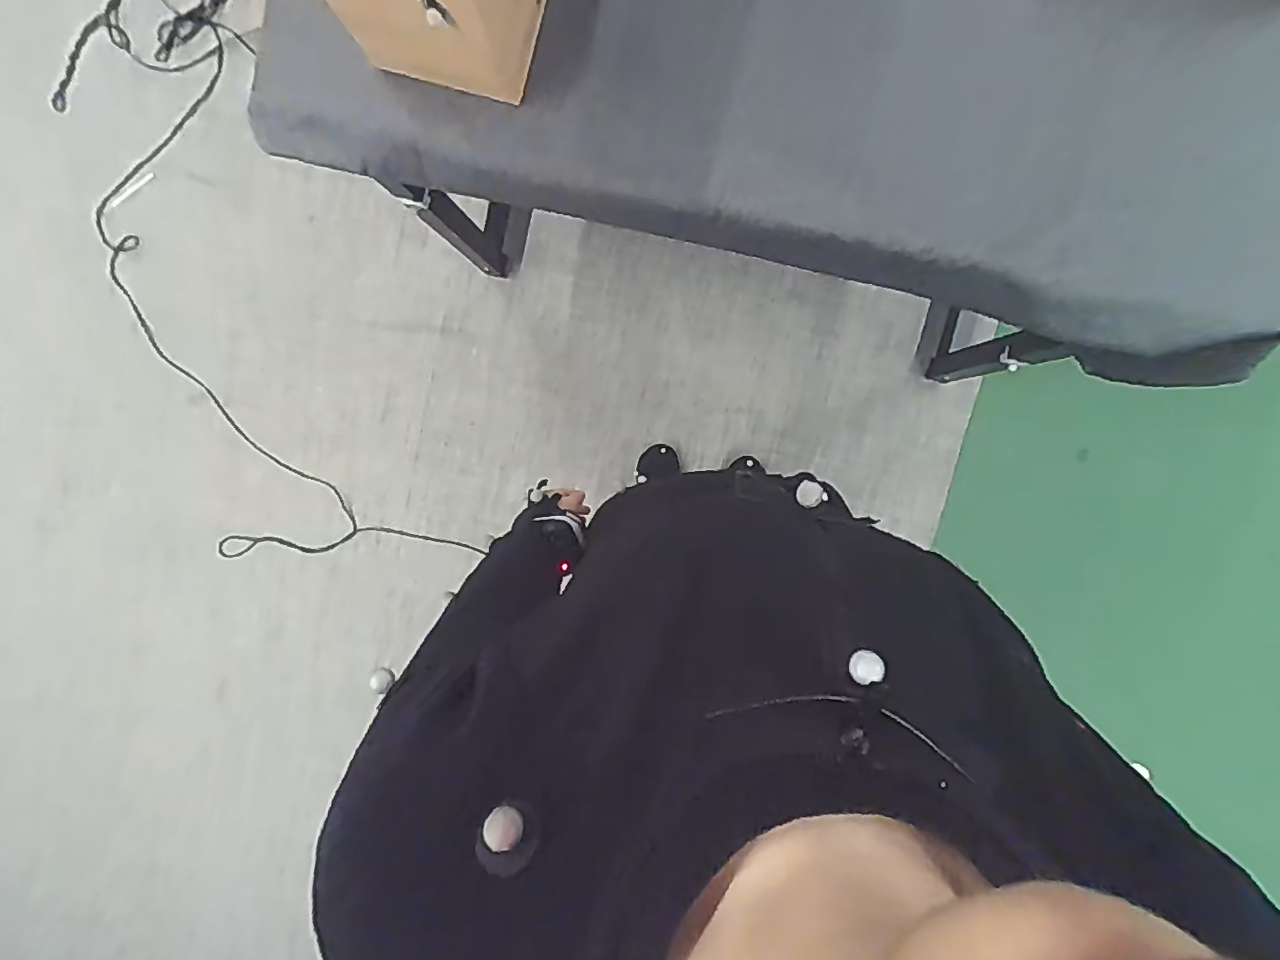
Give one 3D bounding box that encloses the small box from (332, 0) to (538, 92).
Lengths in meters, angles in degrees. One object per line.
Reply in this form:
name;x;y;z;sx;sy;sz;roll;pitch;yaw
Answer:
small box;-0.202;-0.527;0.530;0.179;0.176;0.168;16;93;2
